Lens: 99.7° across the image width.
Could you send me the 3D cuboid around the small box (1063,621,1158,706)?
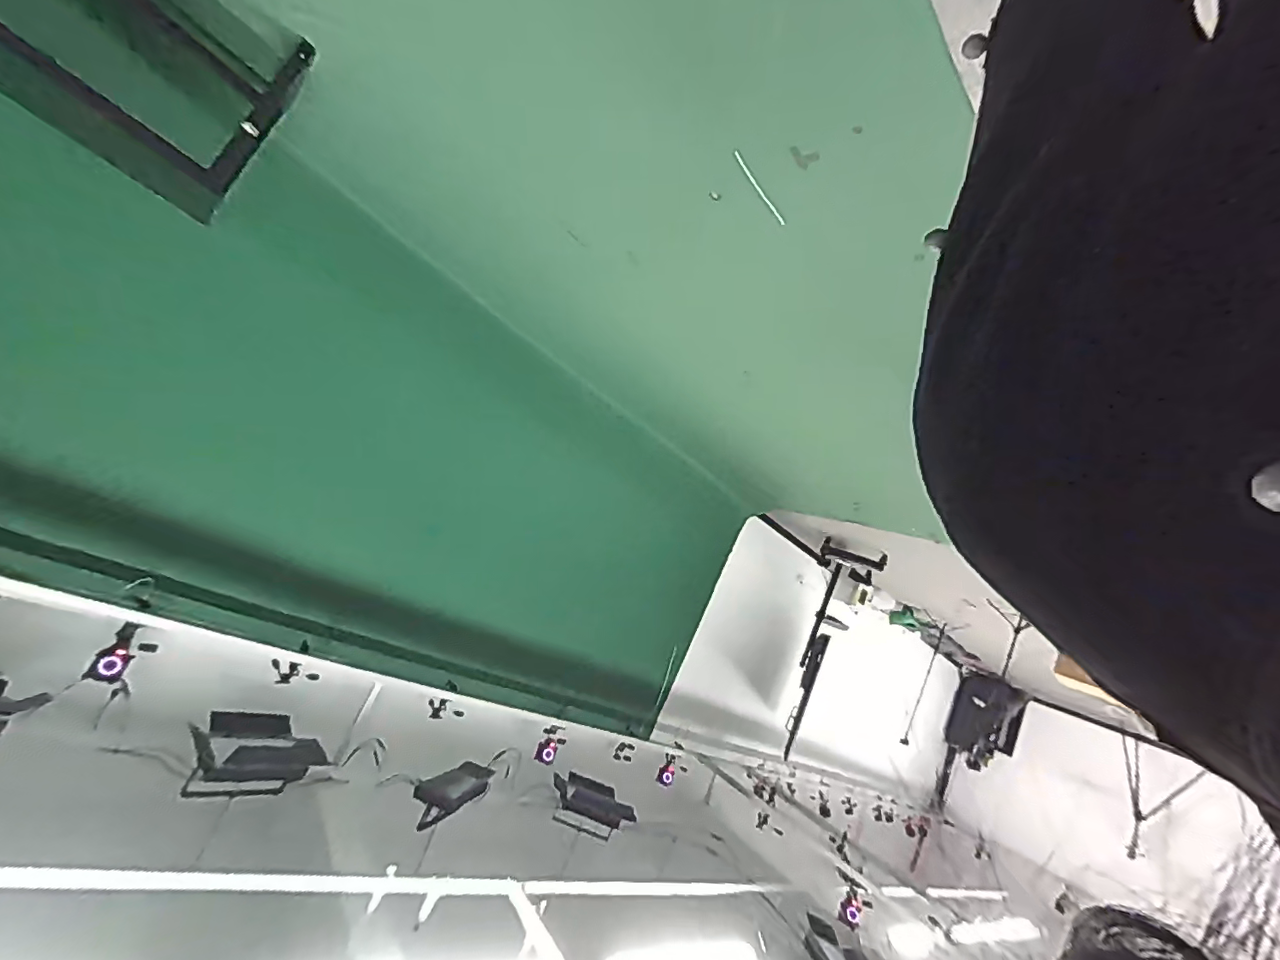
[{"bbox_3d":[1.379,0.530,1.584,0.179,0.176,0.168,11,162,49],"label":"small box"}]
